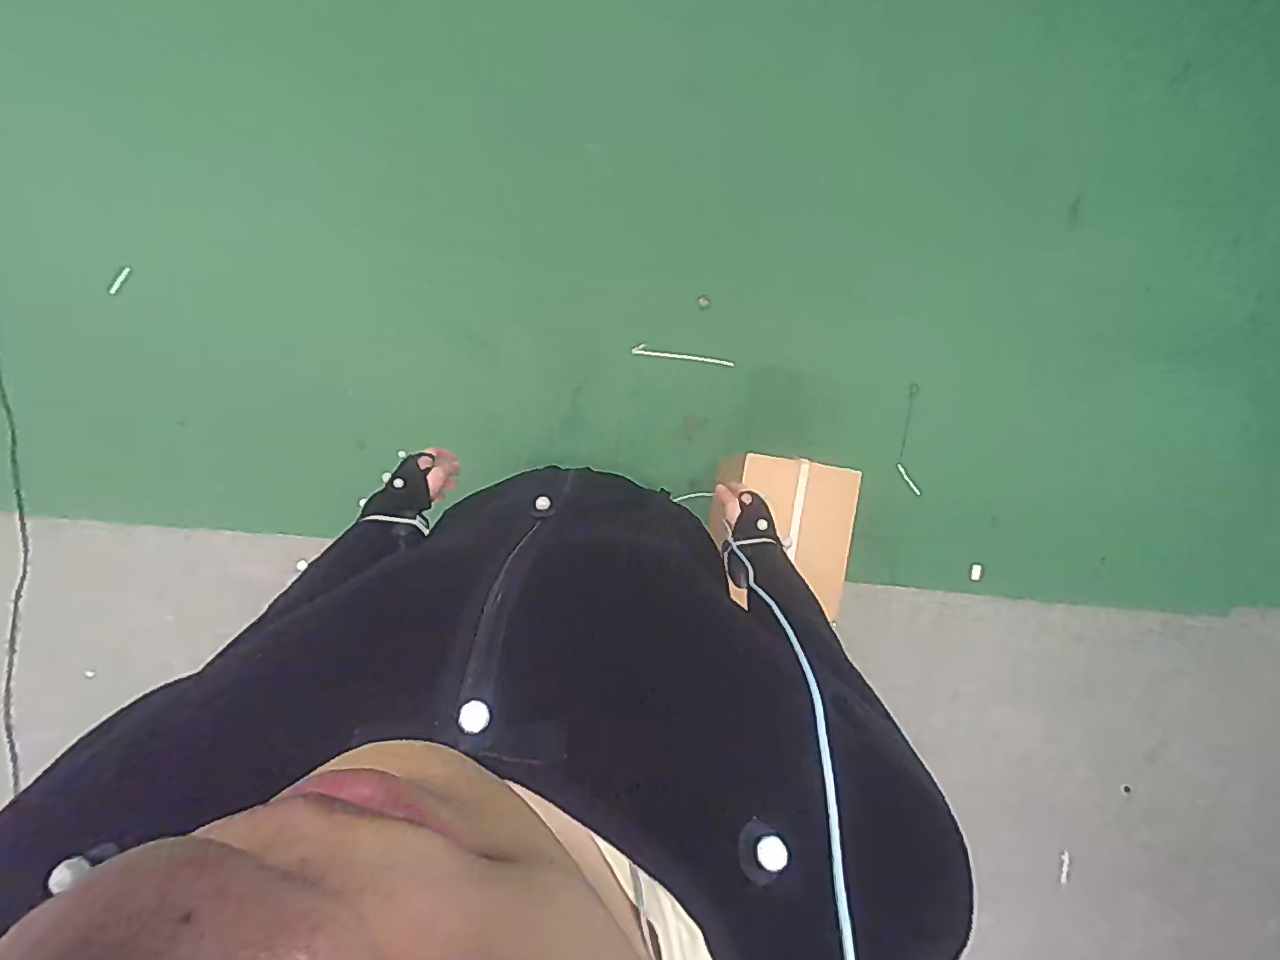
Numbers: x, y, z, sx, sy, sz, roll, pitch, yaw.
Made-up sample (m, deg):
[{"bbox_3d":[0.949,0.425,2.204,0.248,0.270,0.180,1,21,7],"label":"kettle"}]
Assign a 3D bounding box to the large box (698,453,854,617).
[{"bbox_3d":[0.370,0.139,1.552,0.320,0.320,0.408,9,91,-5],"label":"large box"}]
